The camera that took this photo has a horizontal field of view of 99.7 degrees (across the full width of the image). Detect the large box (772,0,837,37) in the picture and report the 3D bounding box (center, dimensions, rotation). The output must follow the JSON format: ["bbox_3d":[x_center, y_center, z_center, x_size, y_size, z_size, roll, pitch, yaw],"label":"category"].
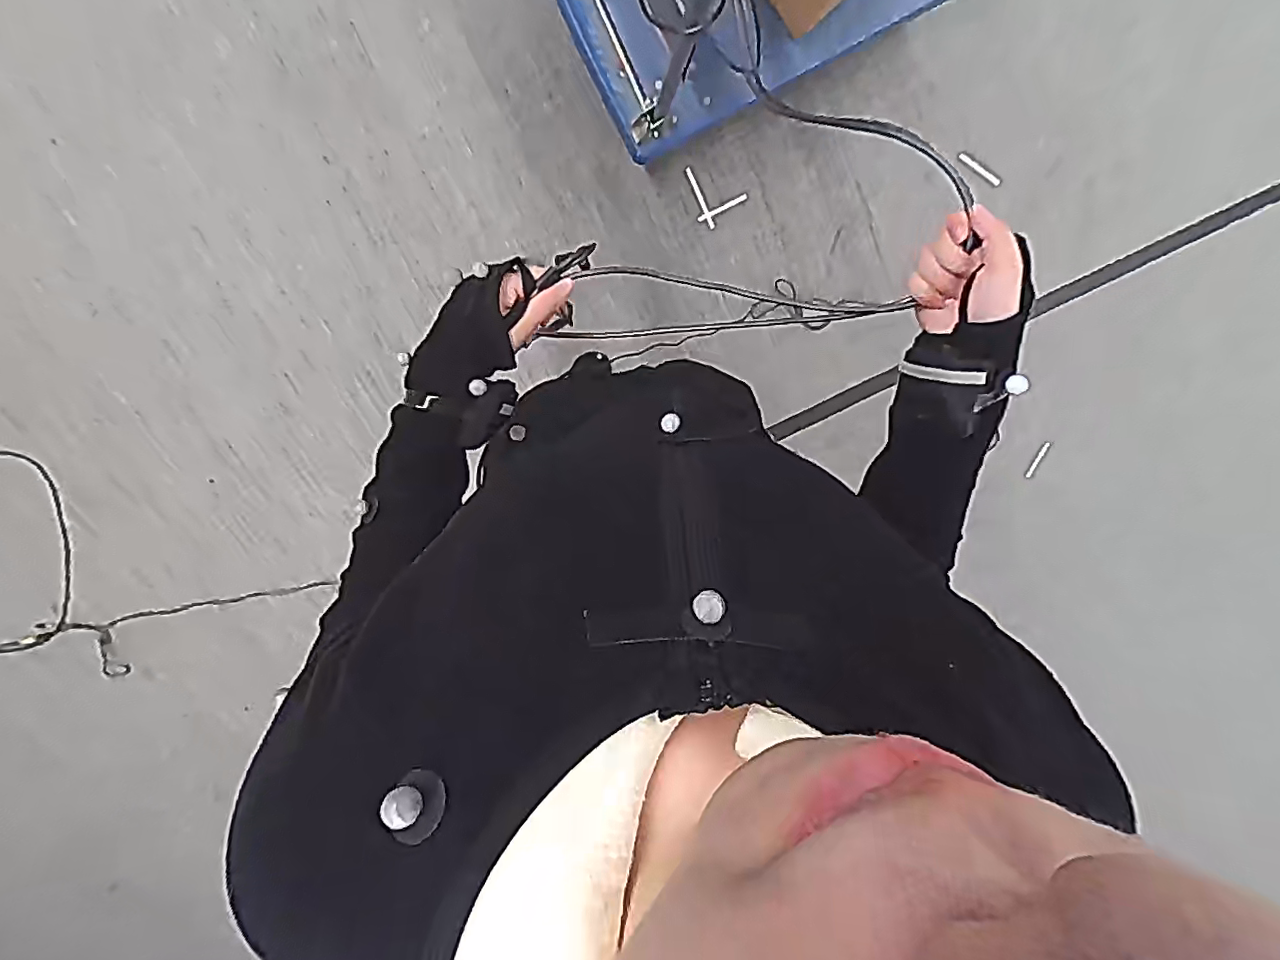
[{"bbox_3d":[0.324,-1.115,0.918,0.320,0.320,0.408,-42,107,5],"label":"large box"}]
